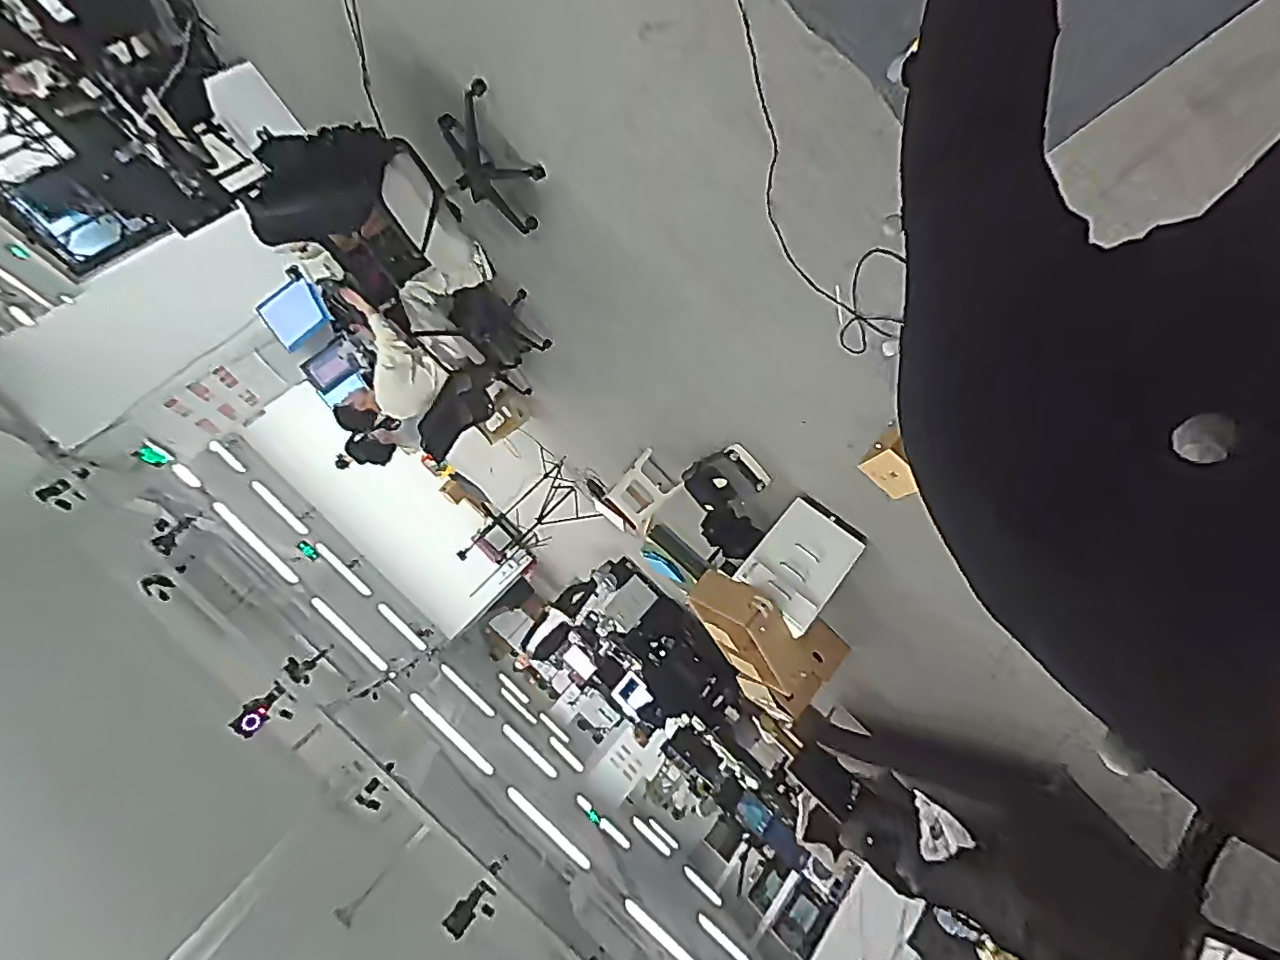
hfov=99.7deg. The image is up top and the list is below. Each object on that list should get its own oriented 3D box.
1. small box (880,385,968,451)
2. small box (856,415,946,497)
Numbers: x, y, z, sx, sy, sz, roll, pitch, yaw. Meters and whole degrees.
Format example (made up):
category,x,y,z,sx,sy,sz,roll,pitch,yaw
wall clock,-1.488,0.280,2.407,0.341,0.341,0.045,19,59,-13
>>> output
category,x,y,z,sx,sy,sz,roll,pitch,yaw
small box,0.946,-0.185,1.791,0.168,0.176,0.179,43,160,1
small box,0.839,-0.078,1.726,0.168,0.176,0.179,43,160,3
